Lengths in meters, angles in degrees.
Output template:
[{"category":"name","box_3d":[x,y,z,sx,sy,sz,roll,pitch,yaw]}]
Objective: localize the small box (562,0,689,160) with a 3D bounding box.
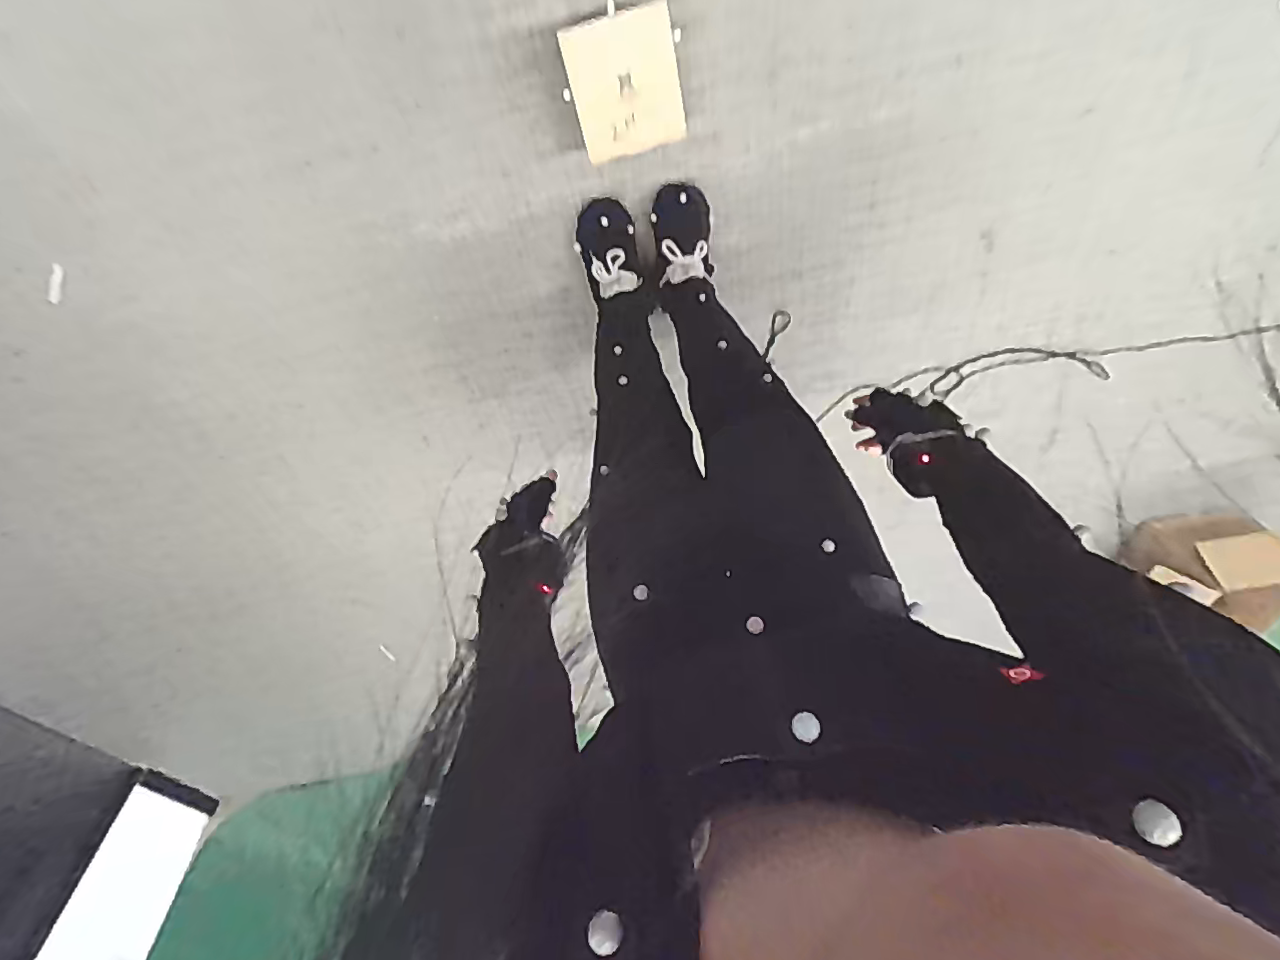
[{"category":"small box","box_3d":[-0.024,-0.653,0.882,0.168,0.176,0.179,-13,131,6]}]
